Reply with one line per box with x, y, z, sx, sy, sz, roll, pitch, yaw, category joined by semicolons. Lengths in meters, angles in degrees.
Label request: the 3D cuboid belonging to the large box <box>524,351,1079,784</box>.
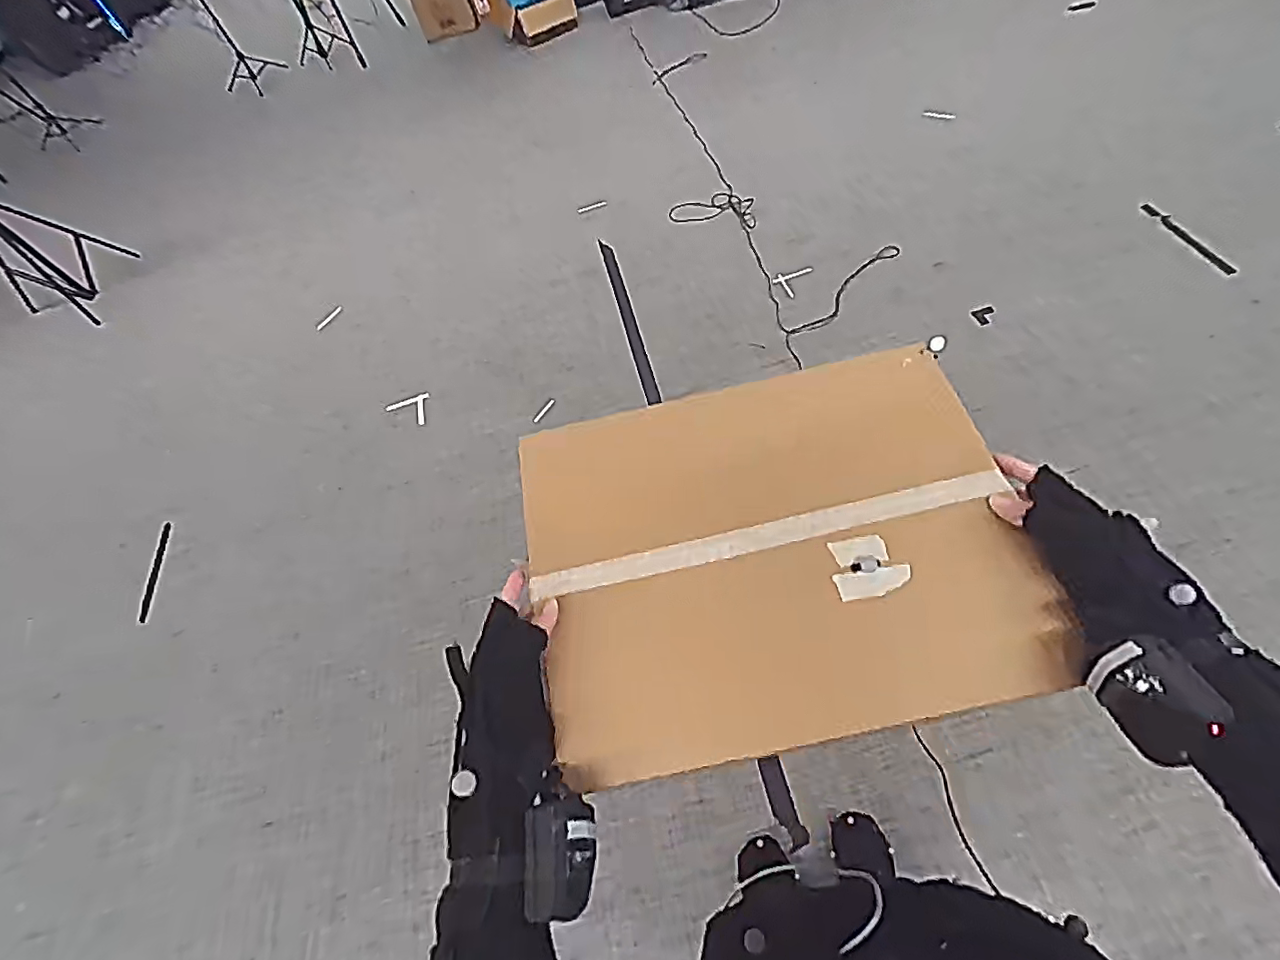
0.122;0.116;0.601;0.408;0.320;0.320;-13;63;1;large box
